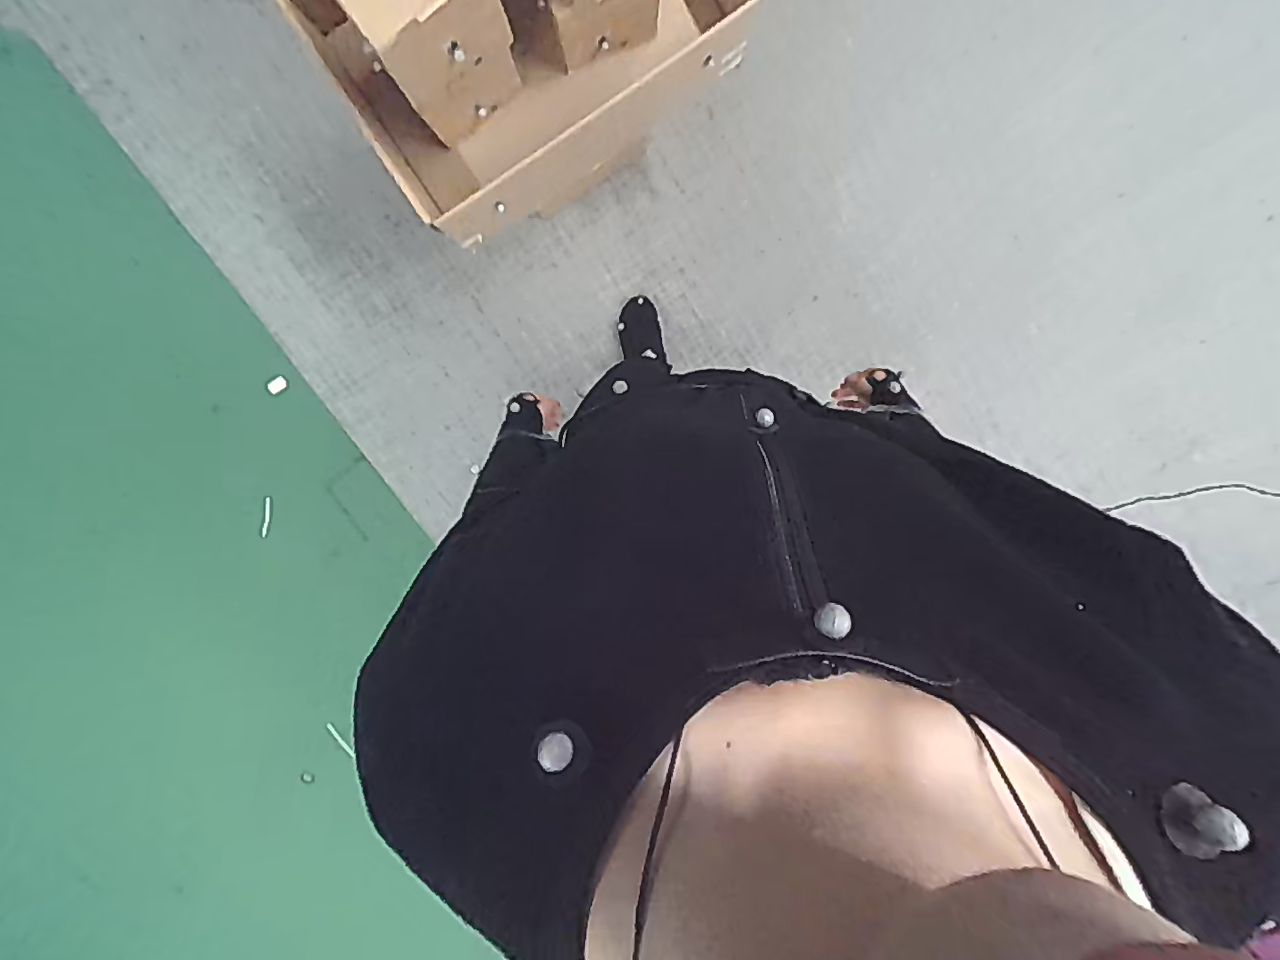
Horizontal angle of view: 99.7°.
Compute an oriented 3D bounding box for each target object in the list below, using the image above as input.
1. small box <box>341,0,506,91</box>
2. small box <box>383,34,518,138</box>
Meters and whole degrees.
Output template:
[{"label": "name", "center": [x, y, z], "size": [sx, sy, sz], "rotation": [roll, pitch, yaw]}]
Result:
[{"label": "small box", "center": [-0.291, -0.629, 0.669], "size": [0.168, 0.176, 0.179], "rotation": [-35, 103, 5]}, {"label": "small box", "center": [-0.312, -0.674, 0.826], "size": [0.168, 0.176, 0.179], "rotation": [-35, 102, 6]}]
